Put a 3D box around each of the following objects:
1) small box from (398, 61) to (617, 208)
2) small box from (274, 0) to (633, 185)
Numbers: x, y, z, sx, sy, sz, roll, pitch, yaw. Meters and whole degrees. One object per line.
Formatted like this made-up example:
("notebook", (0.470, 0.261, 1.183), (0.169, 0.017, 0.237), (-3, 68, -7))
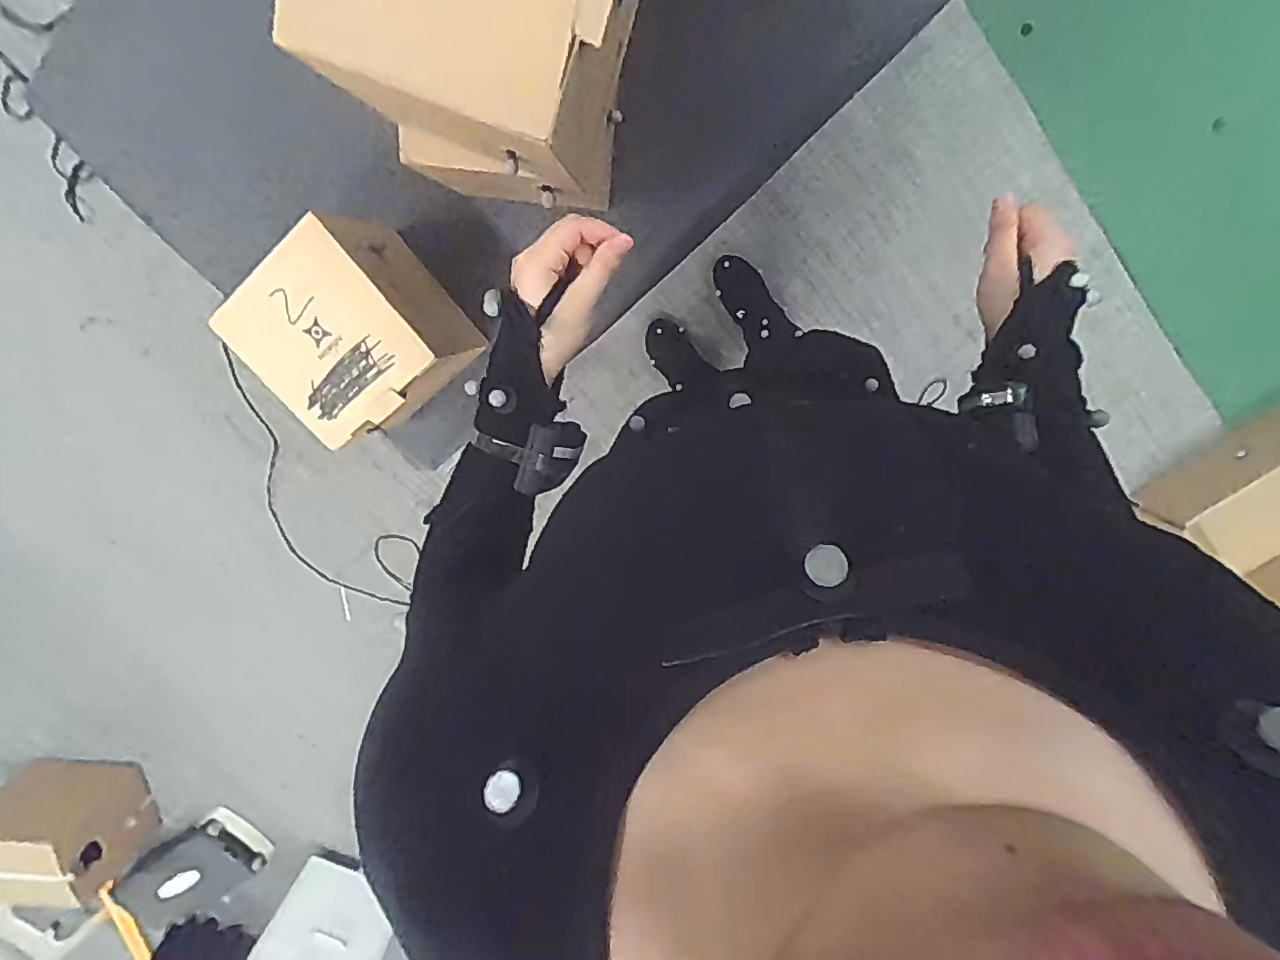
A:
("small box", (-0.119, -0.377, 0.535), (0.179, 0.176, 0.168), (7, 109, 0))
("small box", (-0.109, -0.328, 0.379), (0.179, 0.176, 0.168), (18, 108, -3))
